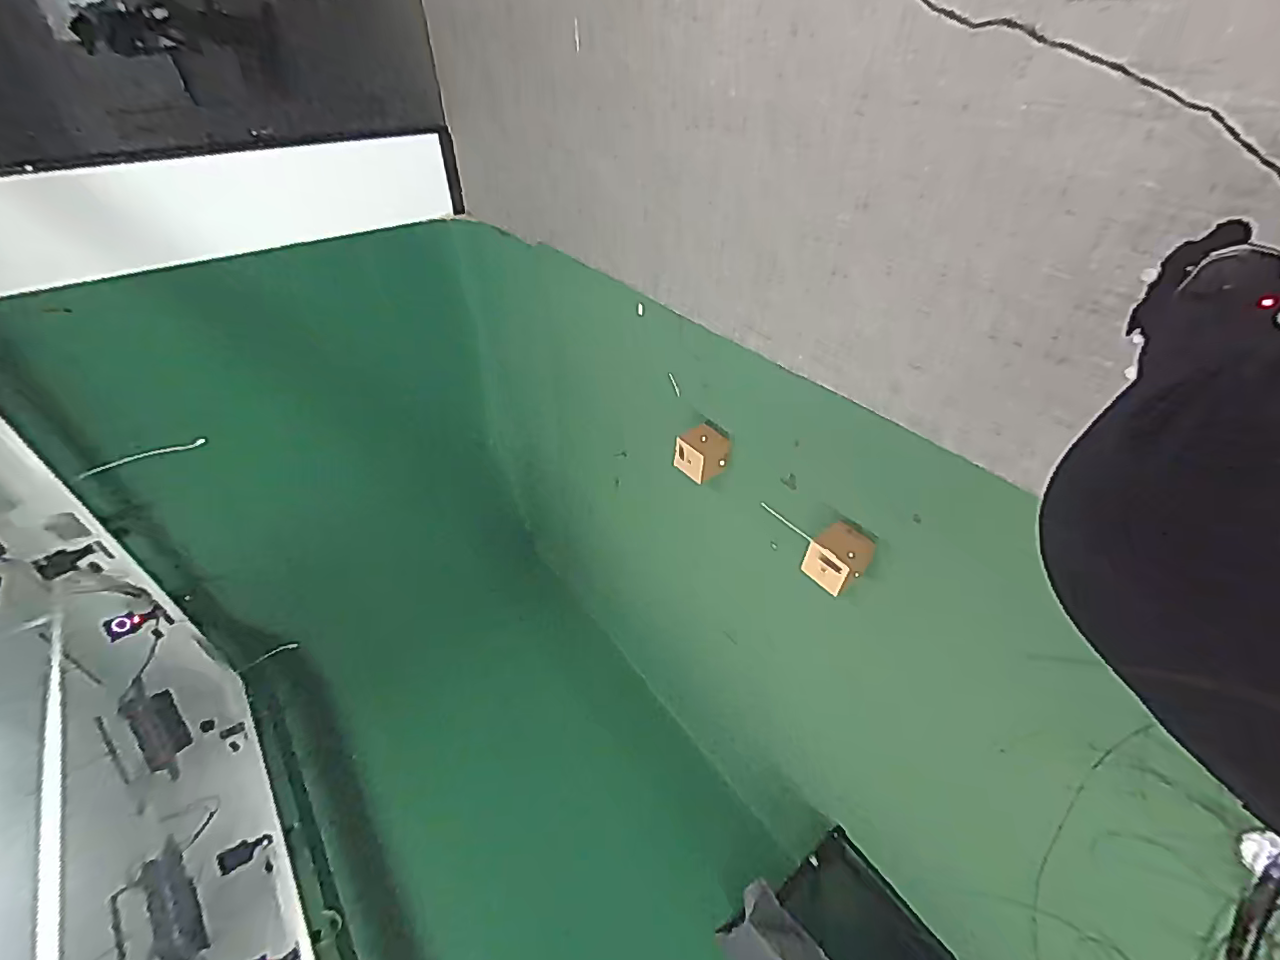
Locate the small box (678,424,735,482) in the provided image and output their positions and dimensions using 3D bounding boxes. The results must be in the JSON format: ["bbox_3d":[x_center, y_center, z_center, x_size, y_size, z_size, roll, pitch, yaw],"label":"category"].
[{"bbox_3d":[0.294,-0.127,2.400,0.179,0.176,0.168,40,145,34],"label":"small box"}]
